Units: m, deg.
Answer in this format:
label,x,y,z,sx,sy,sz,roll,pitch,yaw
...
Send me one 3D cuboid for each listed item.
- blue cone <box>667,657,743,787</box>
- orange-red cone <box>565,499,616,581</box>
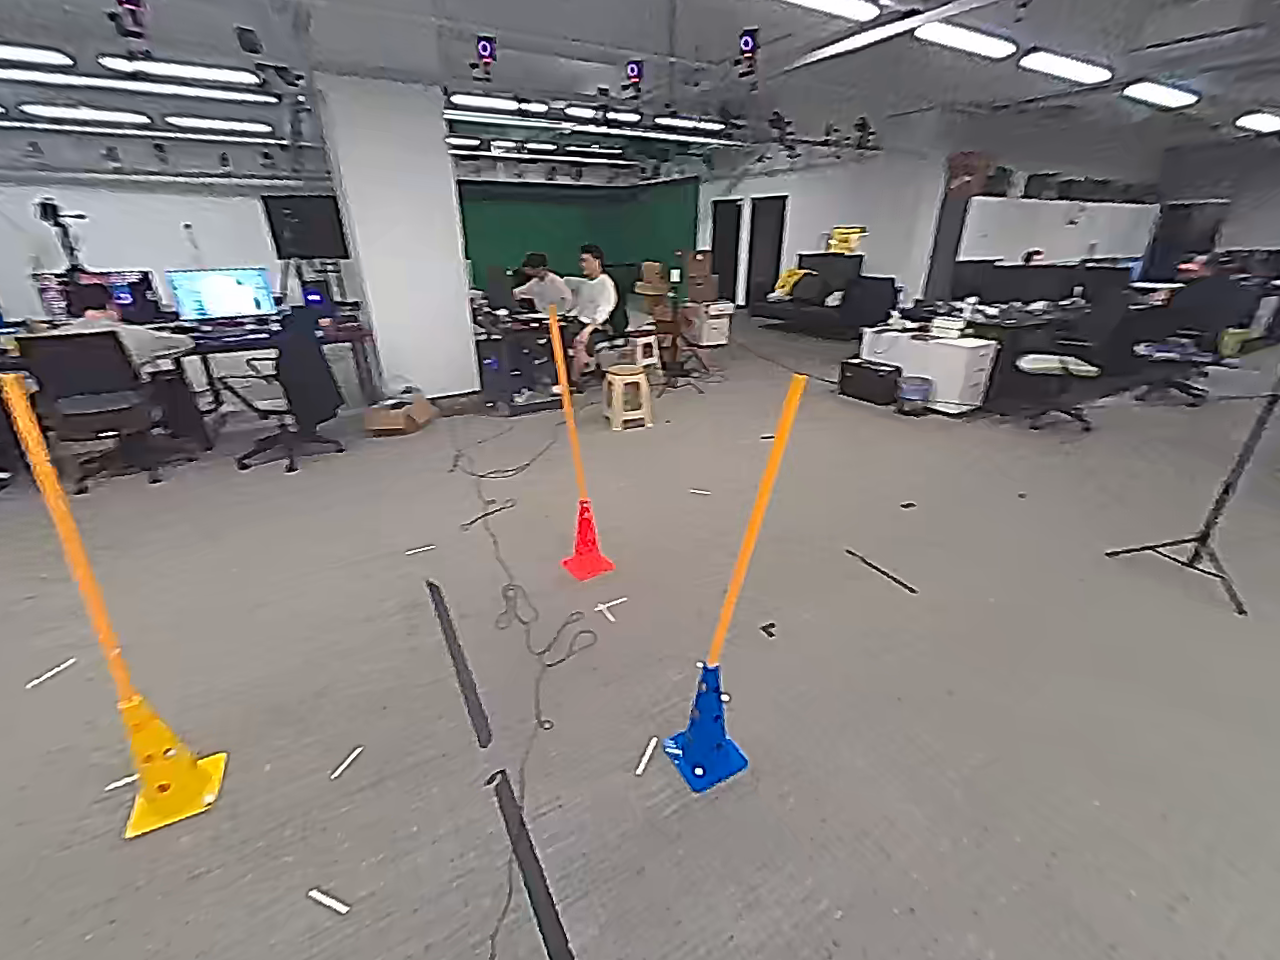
label,x,y,z,sx,sy,sz,roll,pitch,yaw
blue cone,0.196,0.681,1.577,0.193,0.380,0.192,-12,26,-24
orange-red cone,-0.241,0.256,2.506,0.199,0.360,0.198,-17,28,-30
